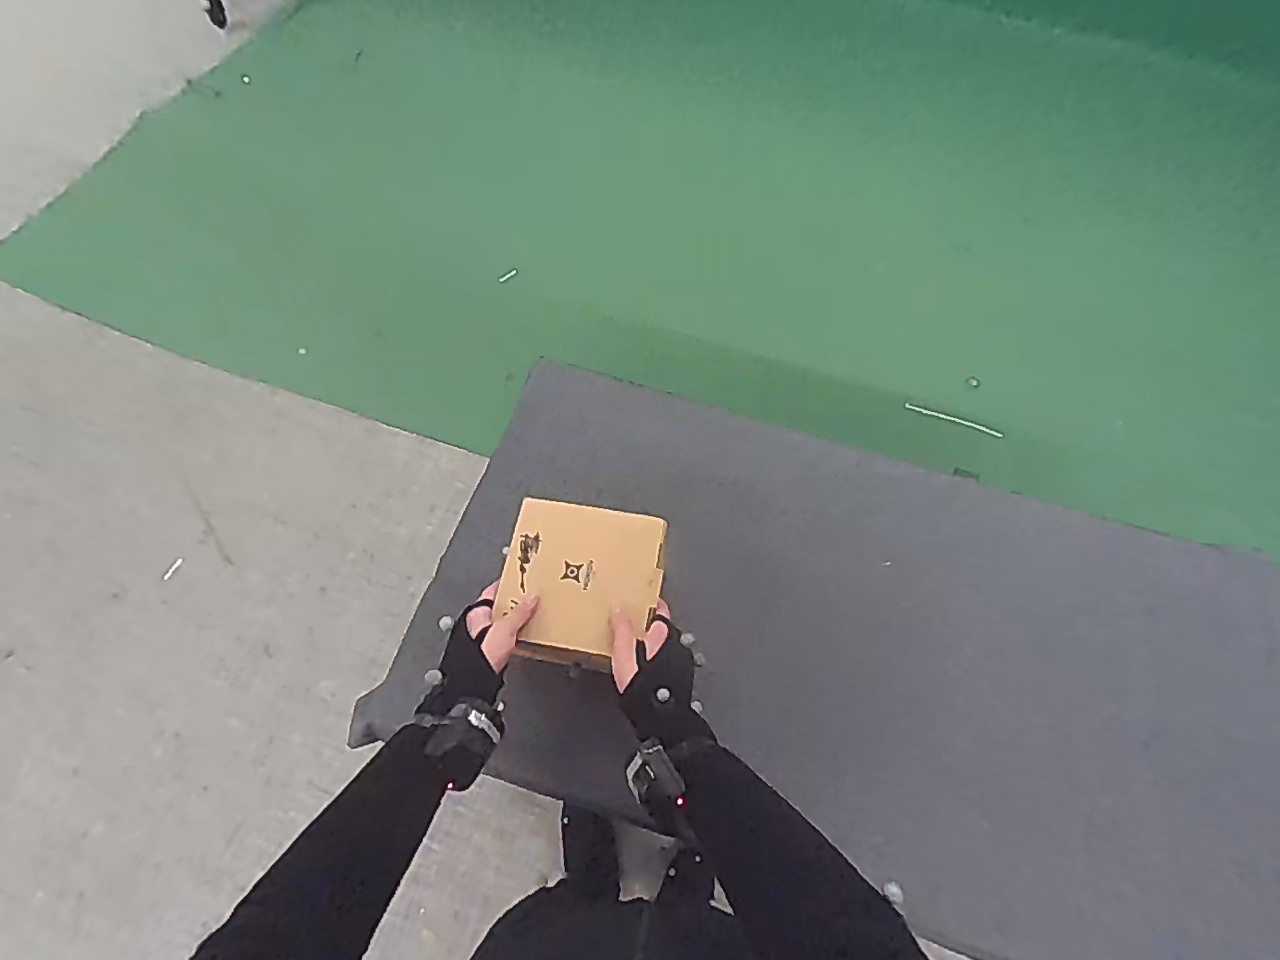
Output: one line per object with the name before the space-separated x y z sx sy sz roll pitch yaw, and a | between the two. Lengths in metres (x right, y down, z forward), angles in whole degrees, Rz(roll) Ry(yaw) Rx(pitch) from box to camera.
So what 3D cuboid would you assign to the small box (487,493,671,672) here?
small box | -0.065 0.136 0.673 0.179 0.176 0.168 10 65 3
